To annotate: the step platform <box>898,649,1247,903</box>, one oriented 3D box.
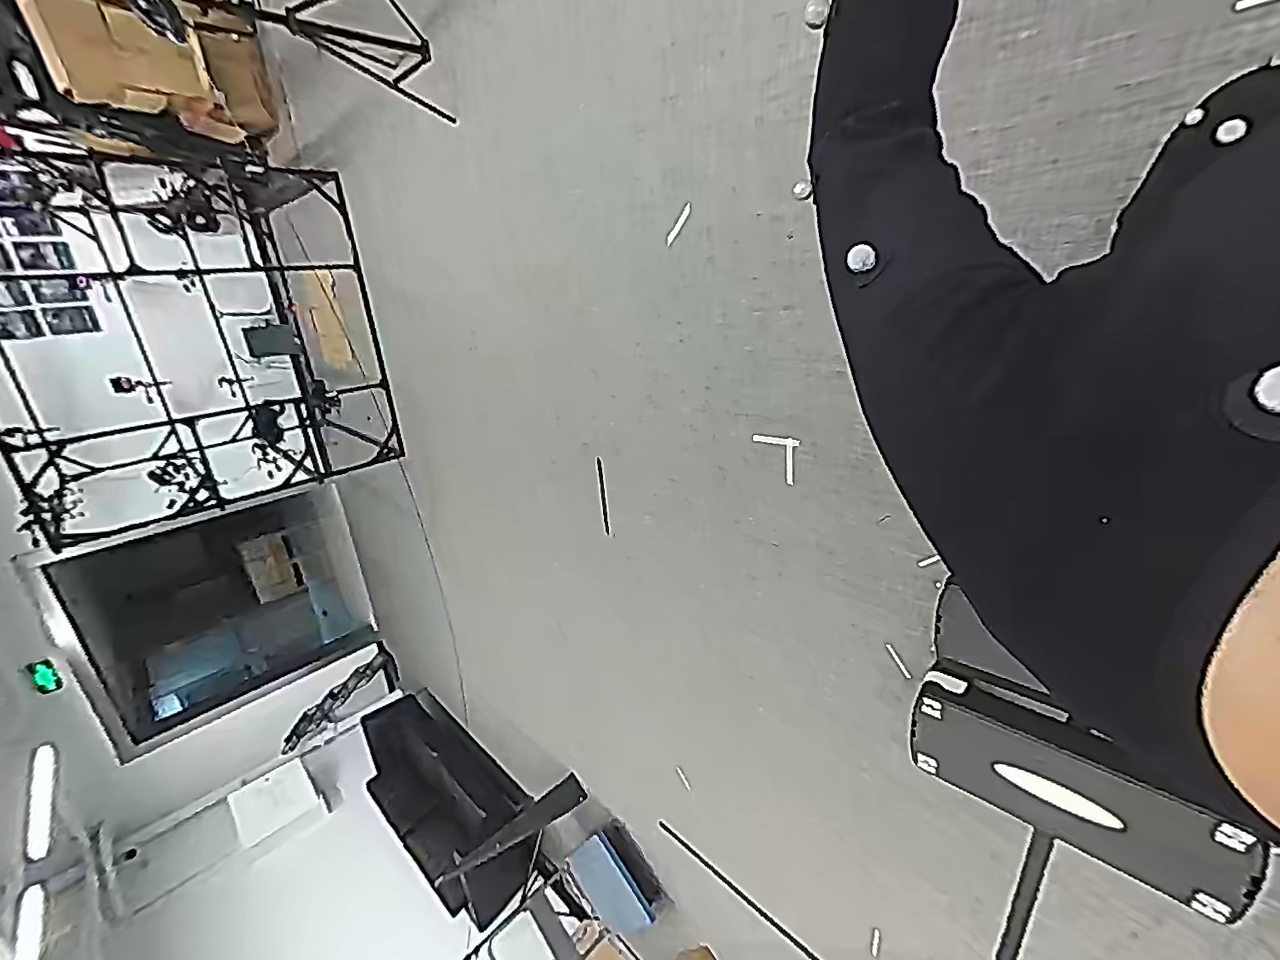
[{"bbox_3d":[1.035,0.708,1.383,0.684,0.204,0.286,15,118,45],"label":"step platform"}]
